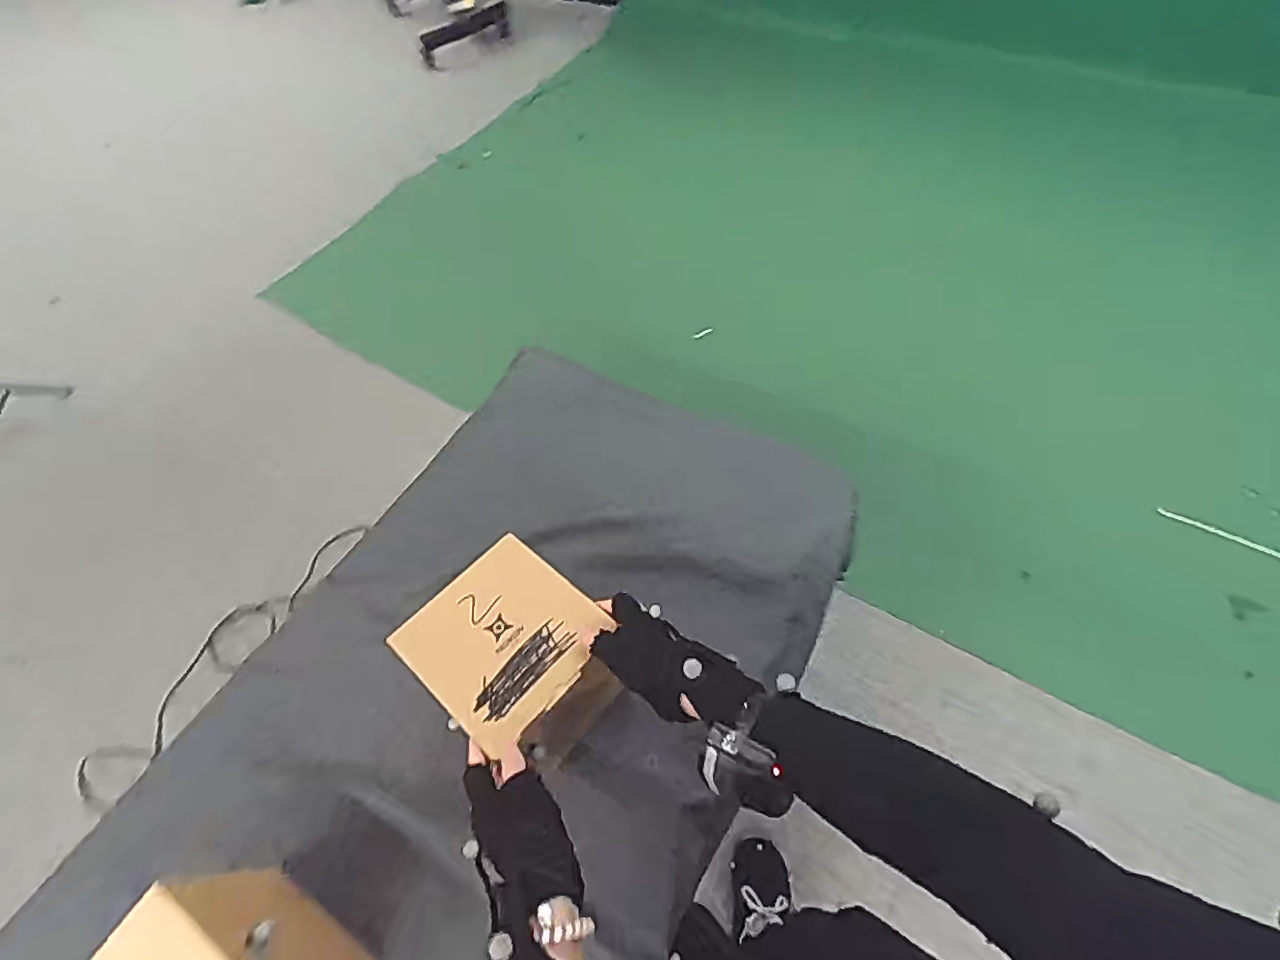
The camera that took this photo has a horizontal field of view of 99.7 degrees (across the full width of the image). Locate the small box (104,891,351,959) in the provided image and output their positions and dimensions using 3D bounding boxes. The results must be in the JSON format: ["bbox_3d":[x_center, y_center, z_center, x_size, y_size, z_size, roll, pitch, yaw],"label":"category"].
[{"bbox_3d":[-0.389,0.506,0.482,0.179,0.176,0.168,24,63,18],"label":"small box"}]
